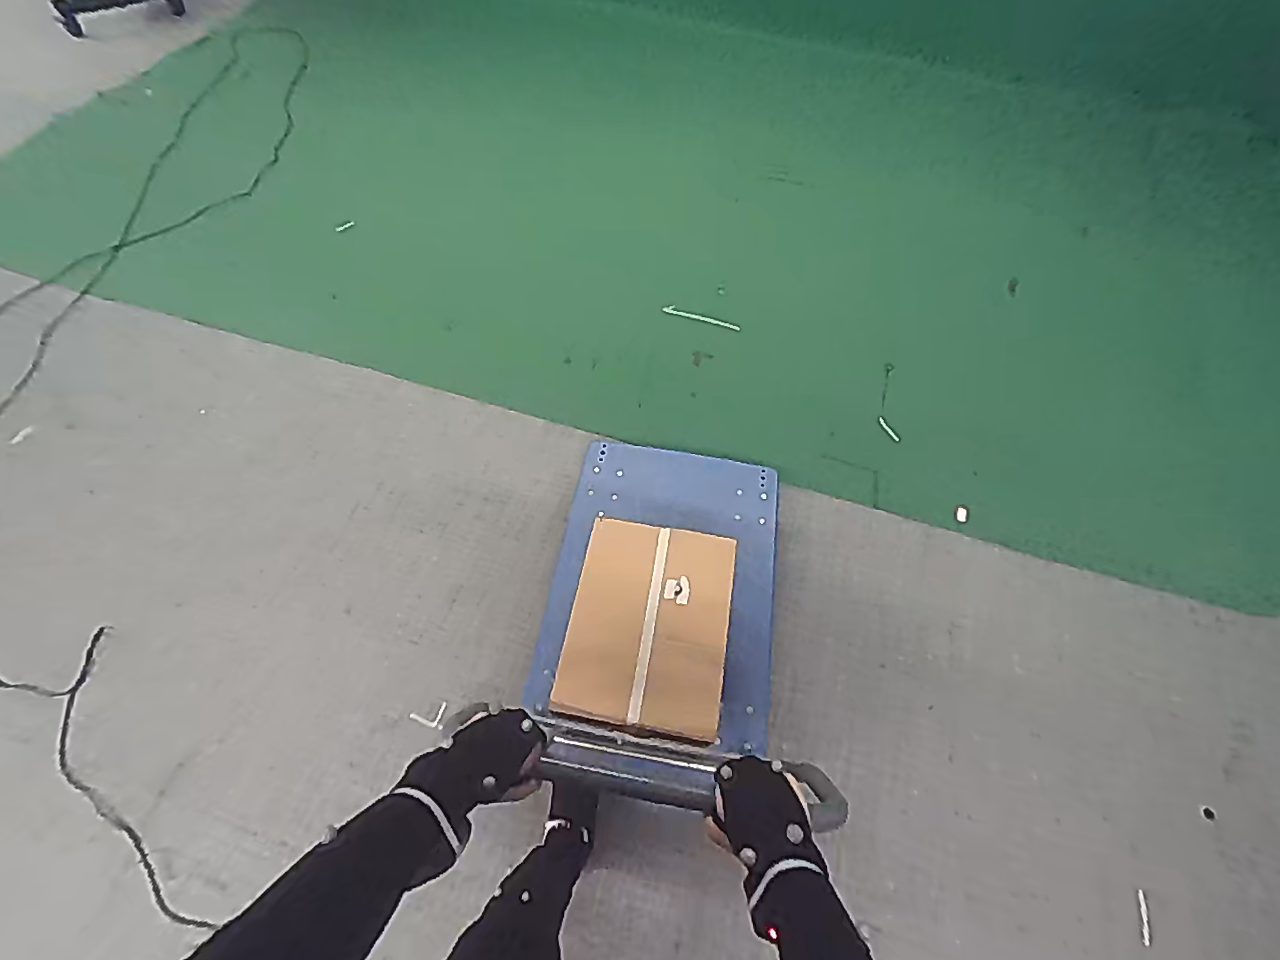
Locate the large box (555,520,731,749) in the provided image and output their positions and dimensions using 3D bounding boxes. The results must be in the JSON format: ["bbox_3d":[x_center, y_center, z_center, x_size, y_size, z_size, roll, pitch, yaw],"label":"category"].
[{"bbox_3d":[0.019,0.354,1.224,0.320,0.320,0.408,9,59,4],"label":"large box"}]
